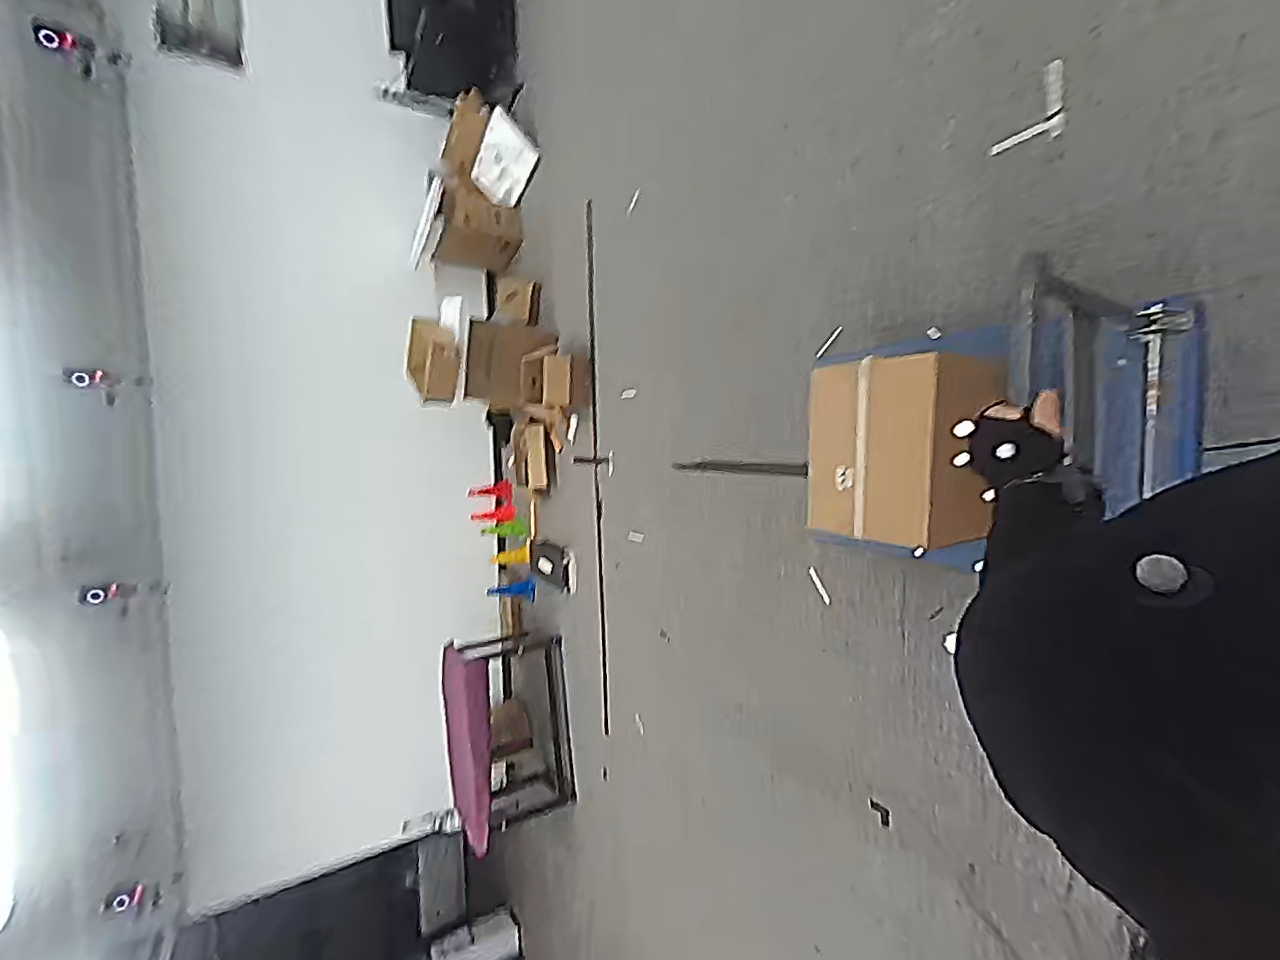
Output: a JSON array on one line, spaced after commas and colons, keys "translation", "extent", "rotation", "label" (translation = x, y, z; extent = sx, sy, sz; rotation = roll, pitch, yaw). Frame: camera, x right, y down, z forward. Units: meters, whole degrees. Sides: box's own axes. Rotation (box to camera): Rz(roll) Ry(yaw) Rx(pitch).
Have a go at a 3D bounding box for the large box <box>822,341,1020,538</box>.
[{"translation": [0.660, -0.100, 1.288], "extent": [0.320, 0.320, 0.408], "rotation": [9, 102, 59], "label": "large box"}]
